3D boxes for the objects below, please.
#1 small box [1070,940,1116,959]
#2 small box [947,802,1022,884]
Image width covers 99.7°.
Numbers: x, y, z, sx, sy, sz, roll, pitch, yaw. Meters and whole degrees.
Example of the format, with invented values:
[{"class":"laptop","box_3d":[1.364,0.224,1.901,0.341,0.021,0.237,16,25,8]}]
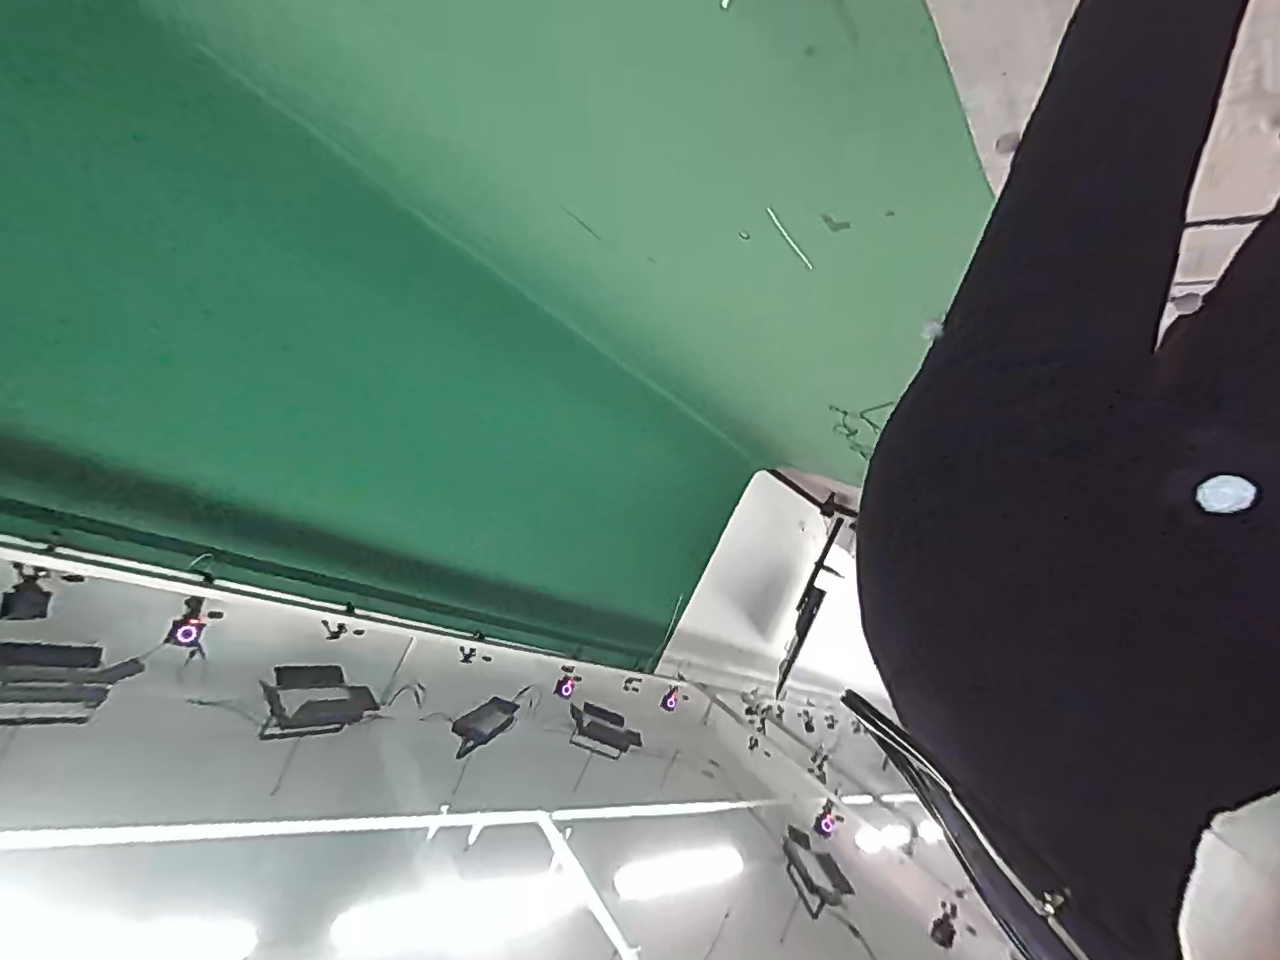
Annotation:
[{"class":"small box","box_3d":[1.408,1.551,1.642,0.179,0.176,0.168,28,177,-37]},{"class":"small box","box_3d":[1.250,1.305,1.953,0.179,0.176,0.168,23,175,47]}]
